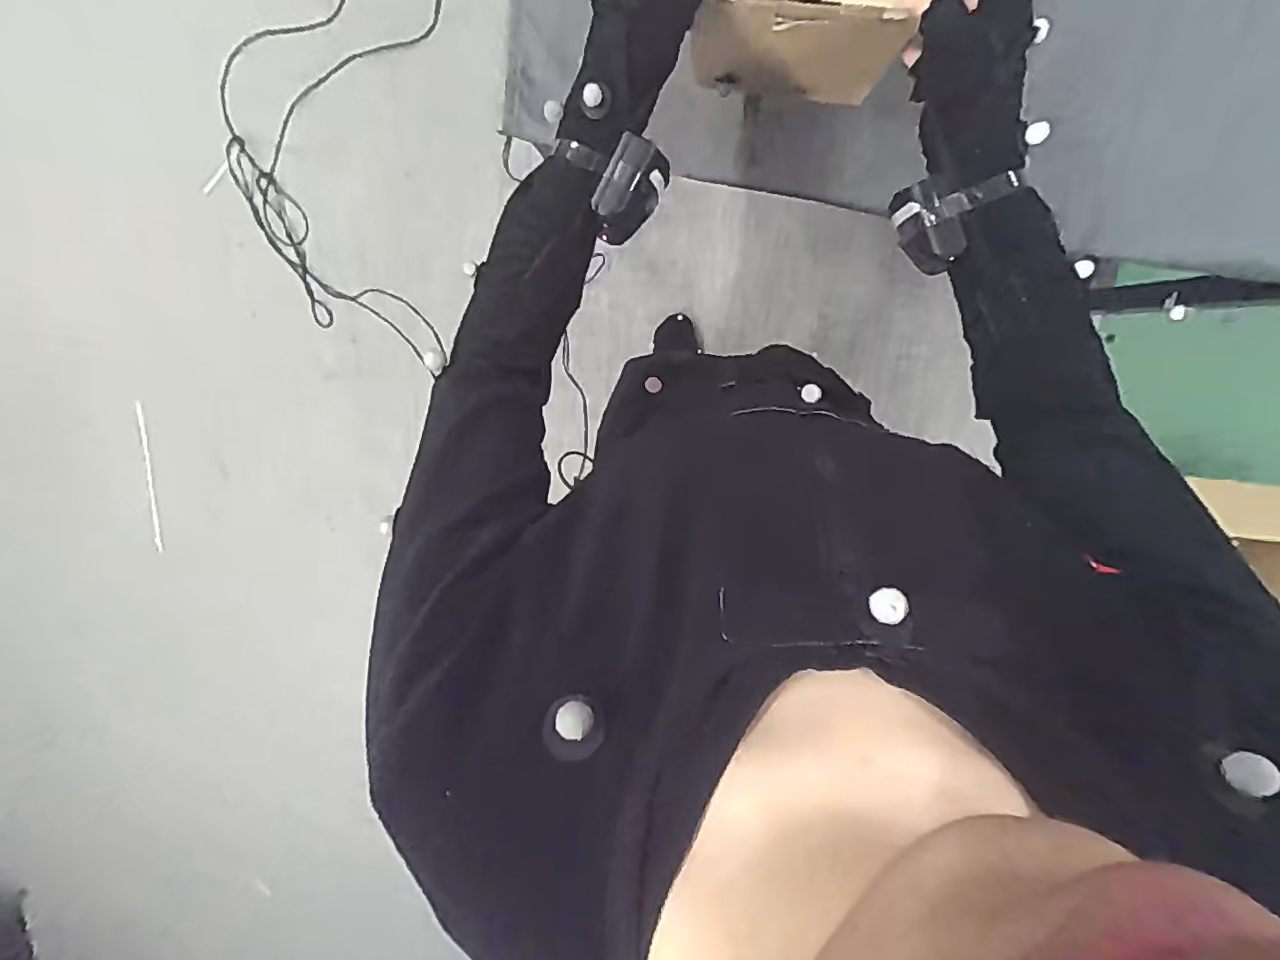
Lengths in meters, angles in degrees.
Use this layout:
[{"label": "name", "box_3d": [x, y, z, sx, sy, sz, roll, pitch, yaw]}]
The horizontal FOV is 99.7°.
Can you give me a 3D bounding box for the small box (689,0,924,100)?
[{"label": "small box", "box_3d": [0.134, -0.435, 0.430, 0.168, 0.176, 0.179, 8, 107, 2]}]
